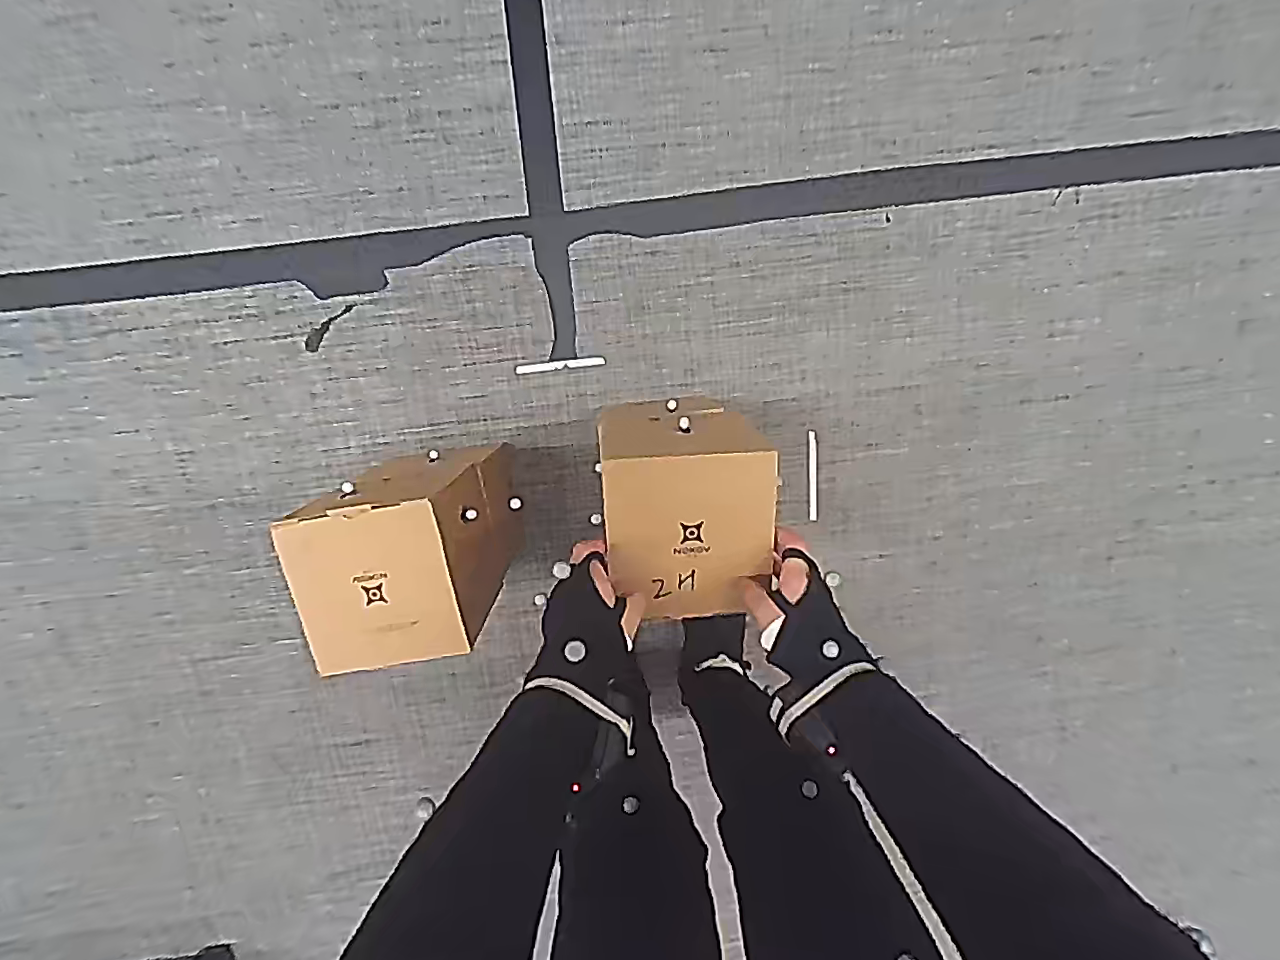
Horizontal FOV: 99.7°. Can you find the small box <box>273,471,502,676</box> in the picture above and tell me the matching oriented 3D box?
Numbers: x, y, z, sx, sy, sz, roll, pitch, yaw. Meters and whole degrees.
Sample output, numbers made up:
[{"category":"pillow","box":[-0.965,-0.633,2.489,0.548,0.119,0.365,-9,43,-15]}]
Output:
[{"category":"small box","box":[-0.275,0.095,0.635,0.168,0.176,0.179,-10,105,1]}]

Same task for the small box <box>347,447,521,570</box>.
[{"category":"small box","box":[-0.286,0.053,0.791,0.179,0.176,0.168,-8,104,-1]}]

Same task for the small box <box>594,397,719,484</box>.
[{"category":"small box","box":[0.027,-0.018,0.790,0.168,0.176,0.179,-7,105,-1]}]

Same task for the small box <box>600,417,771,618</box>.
[{"category":"small box","box":[0.040,0.030,0.604,0.168,0.176,0.179,-3,110,-2]}]
